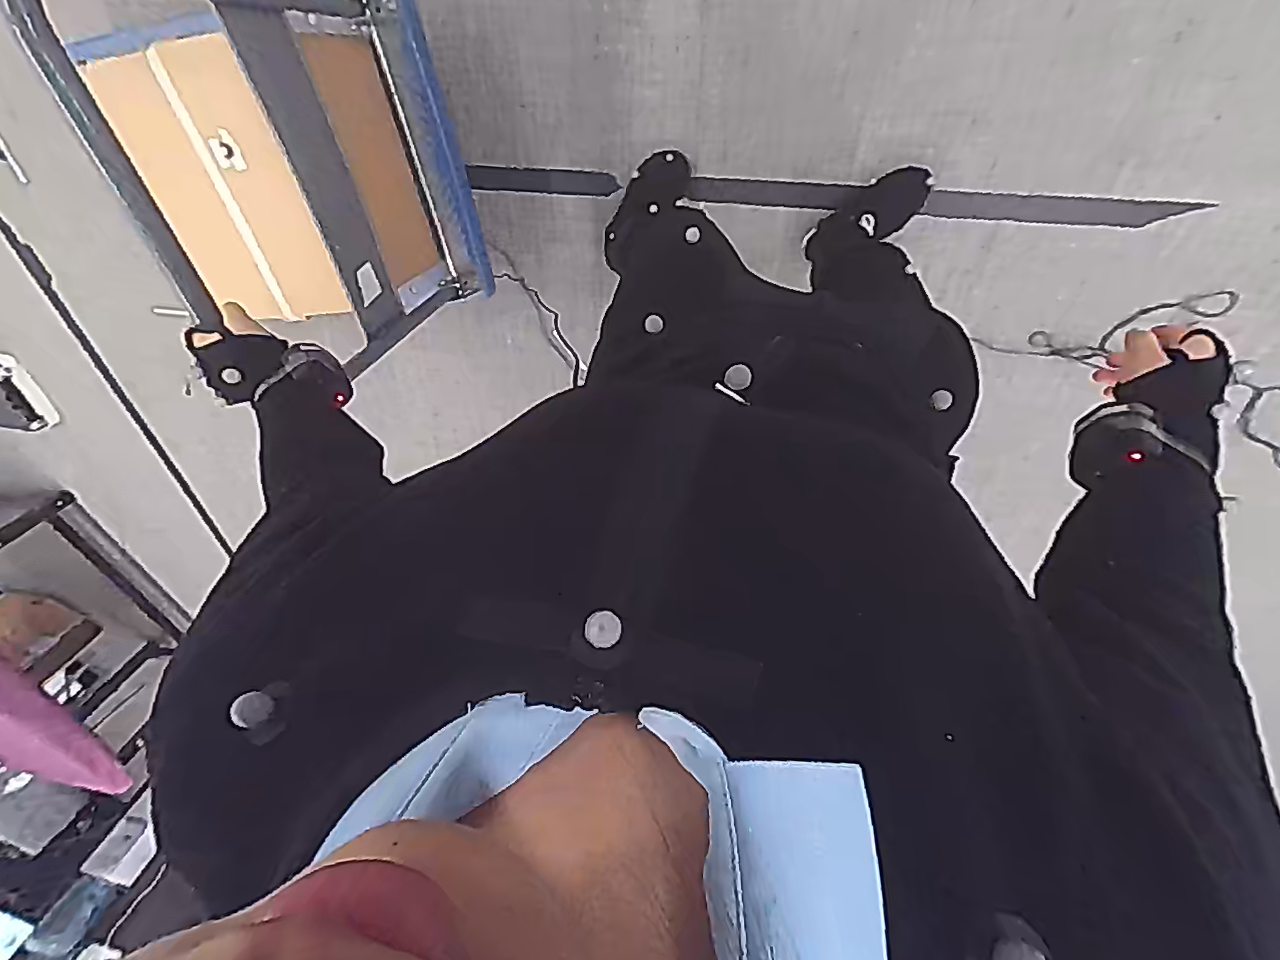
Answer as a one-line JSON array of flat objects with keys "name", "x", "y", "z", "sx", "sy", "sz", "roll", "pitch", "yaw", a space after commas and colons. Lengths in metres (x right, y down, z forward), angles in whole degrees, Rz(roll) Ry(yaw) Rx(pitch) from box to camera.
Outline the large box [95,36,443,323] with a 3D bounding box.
[{"name": "large box", "x": -0.643, "y": -0.555, "z": 1.031, "sx": 0.320, "sy": 0.320, "sz": 0.408, "roll": 0, "pitch": 126, "yaw": 13}]
